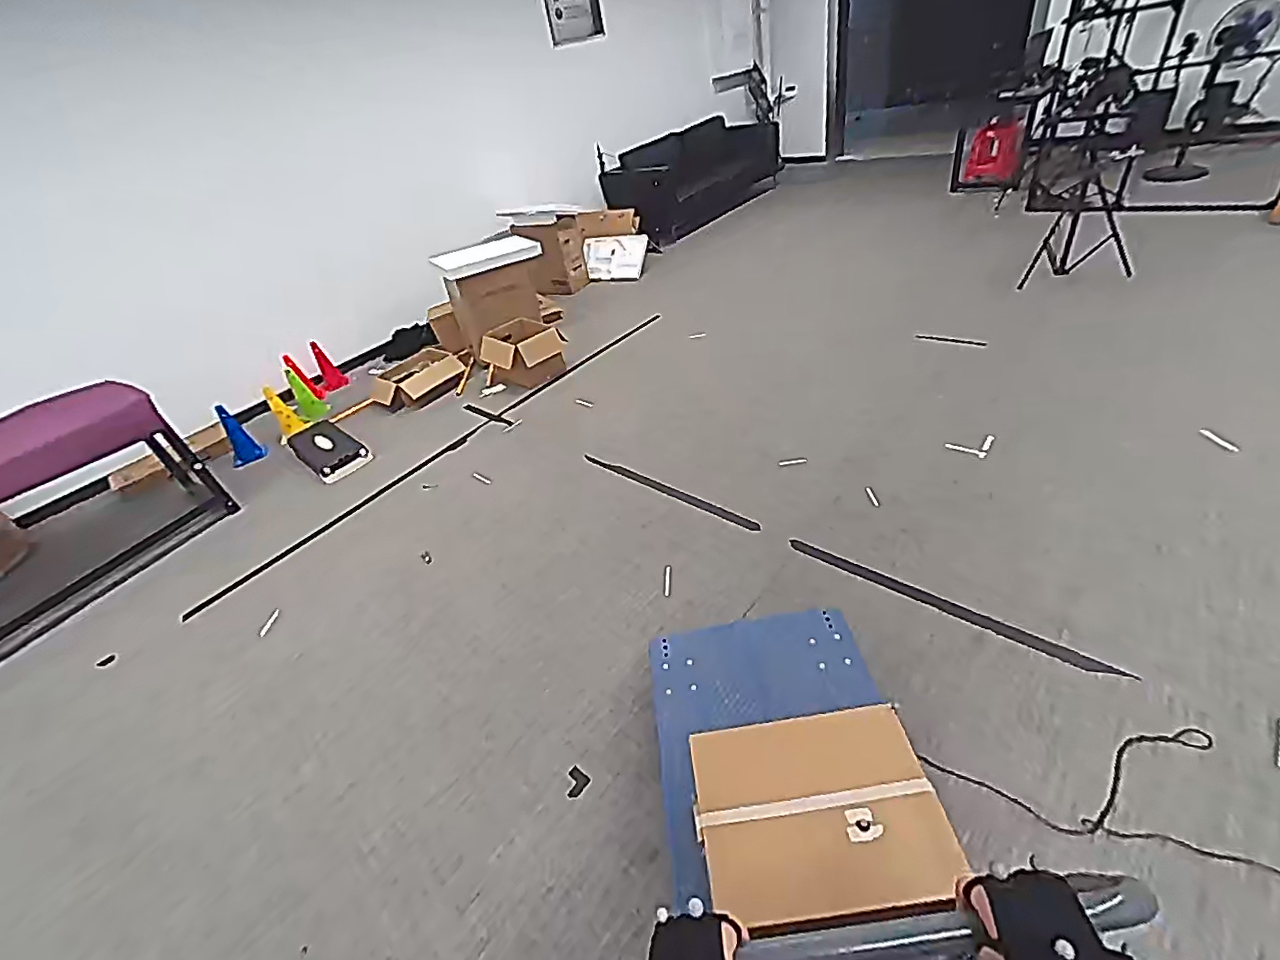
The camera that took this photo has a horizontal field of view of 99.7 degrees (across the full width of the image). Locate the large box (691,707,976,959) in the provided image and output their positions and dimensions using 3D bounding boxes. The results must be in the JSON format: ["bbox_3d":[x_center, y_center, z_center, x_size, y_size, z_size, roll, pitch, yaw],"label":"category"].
[{"bbox_3d":[0.330,0.689,1.034,0.408,0.320,0.320,-10,38,2],"label":"large box"}]
